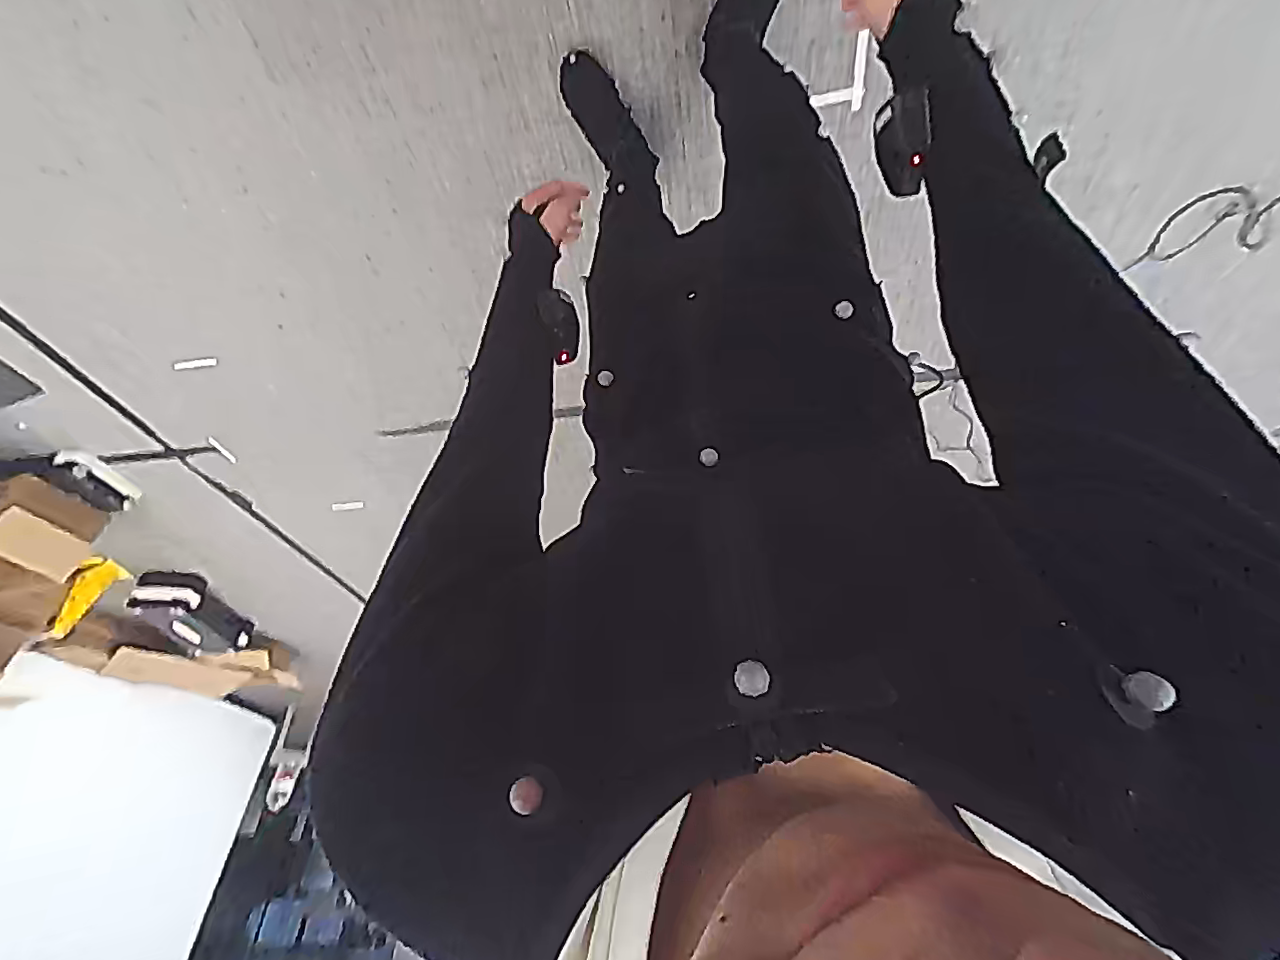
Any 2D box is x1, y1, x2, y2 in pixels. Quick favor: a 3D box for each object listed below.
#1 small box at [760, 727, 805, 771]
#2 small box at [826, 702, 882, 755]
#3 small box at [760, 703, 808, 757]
[{"bbox_3d":[0.641,1.208,2.447,0.168,0.176,0.179,-4,141,5],"label":"small box"},{"bbox_3d":[0.863,1.008,2.200,0.168,0.176,0.179,-6,143,8],"label":"small box"},{"bbox_3d":[0.592,1.032,2.231,0.168,0.176,0.179,-9,141,9],"label":"small box"}]
